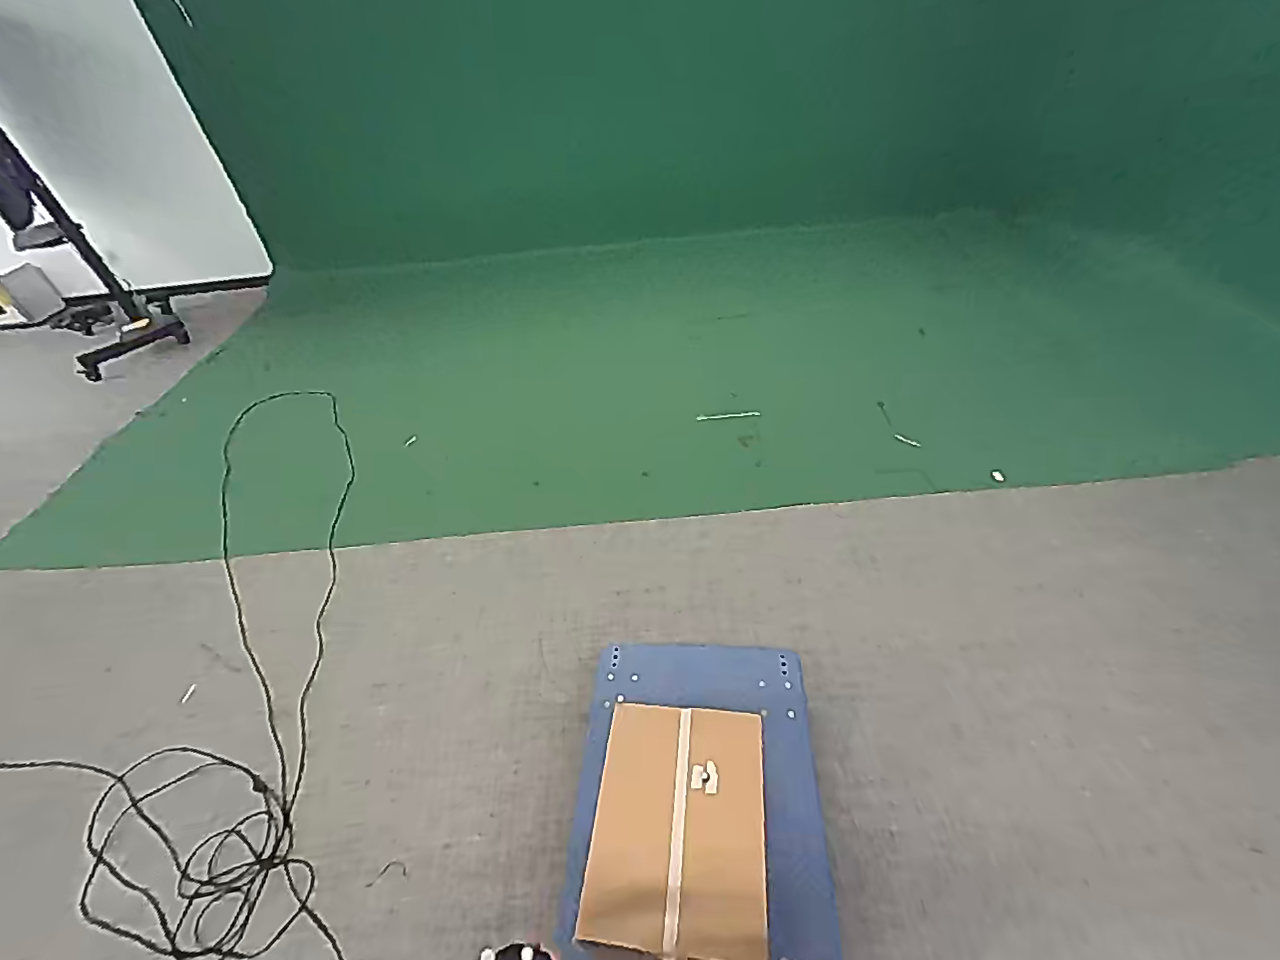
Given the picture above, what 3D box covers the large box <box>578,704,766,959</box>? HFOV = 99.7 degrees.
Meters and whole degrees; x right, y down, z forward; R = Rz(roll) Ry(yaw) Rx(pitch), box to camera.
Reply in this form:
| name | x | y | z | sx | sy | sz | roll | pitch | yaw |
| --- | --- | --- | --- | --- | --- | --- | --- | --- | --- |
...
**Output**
| name | x | y | z | sx | sy | sz | roll | pitch | yaw |
| --- | --- | --- | --- | --- | --- | --- | --- | --- | --- |
| large box | 0.084 | 0.737 | 1.110 | 0.320 | 0.320 | 0.408 | 2 | 42 | 9 |
